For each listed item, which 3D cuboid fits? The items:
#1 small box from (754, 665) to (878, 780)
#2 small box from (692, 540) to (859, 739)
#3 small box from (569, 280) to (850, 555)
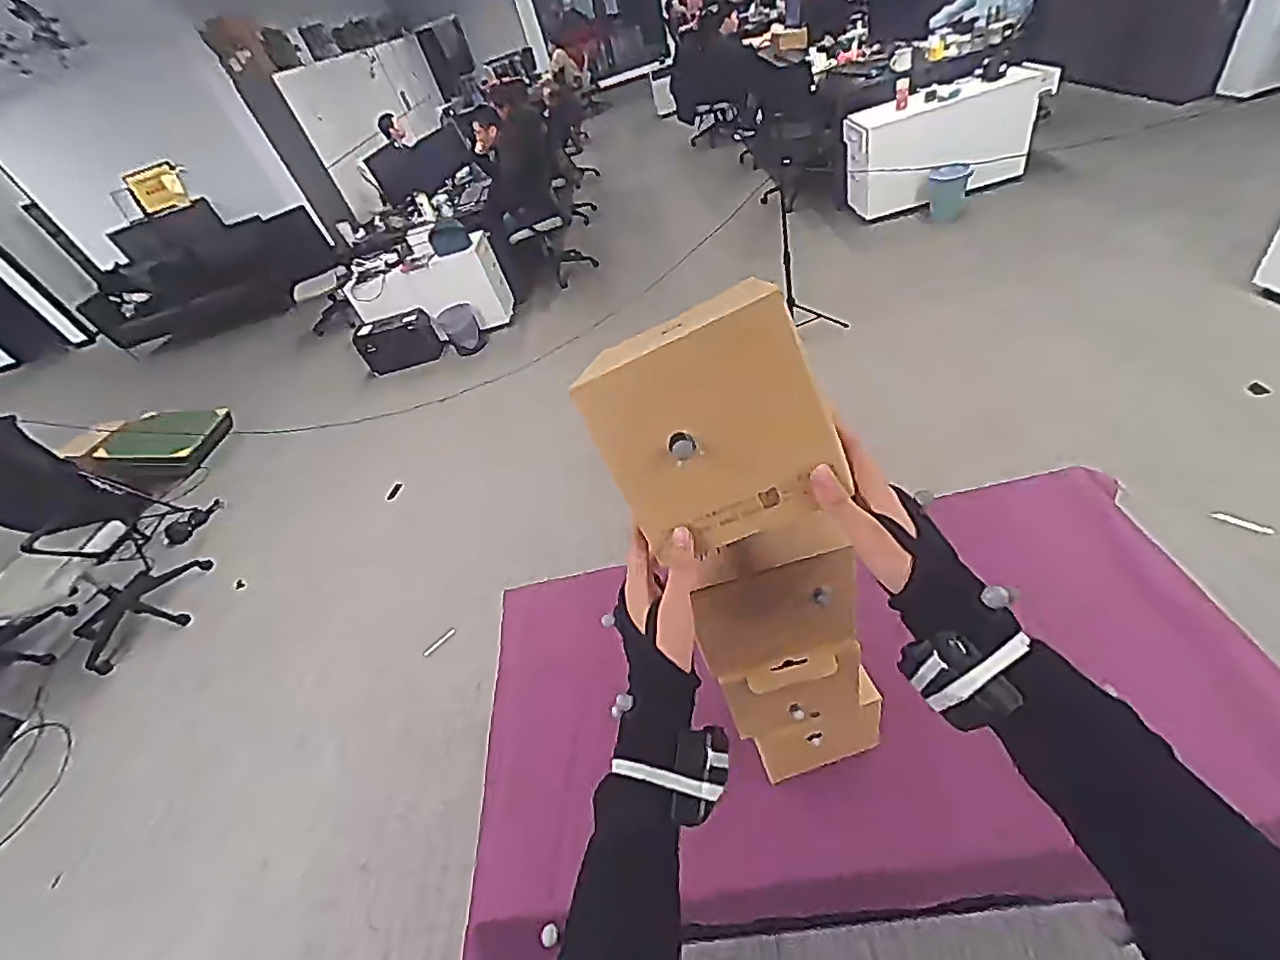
[{"bbox_3d":[0.243,0.331,0.831,0.179,0.176,0.168,-20,42,0],"label":"small box"},{"bbox_3d":[0.179,0.216,0.730,0.168,0.176,0.179,-17,41,5],"label":"small box"},{"bbox_3d":[0.063,-0.054,0.475,0.168,0.176,0.179,-23,18,14],"label":"small box"}]
